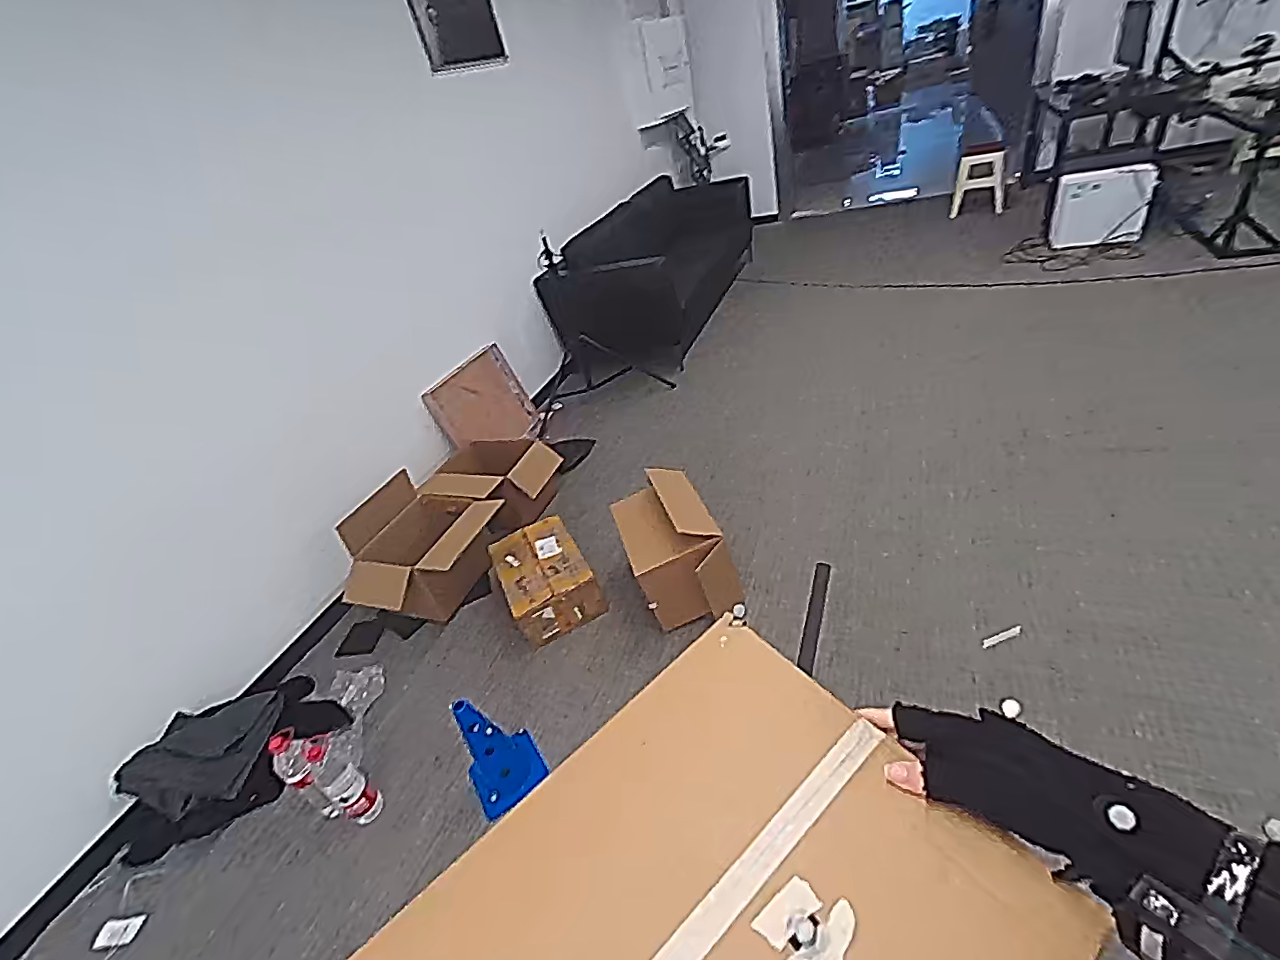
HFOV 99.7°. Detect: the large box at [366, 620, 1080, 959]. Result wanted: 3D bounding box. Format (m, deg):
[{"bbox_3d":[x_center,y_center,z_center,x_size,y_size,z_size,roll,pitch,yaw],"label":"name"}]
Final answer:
[{"bbox_3d":[0.067,0.416,0.459,0.408,0.320,0.320,-36,44,-20],"label":"large box"}]
